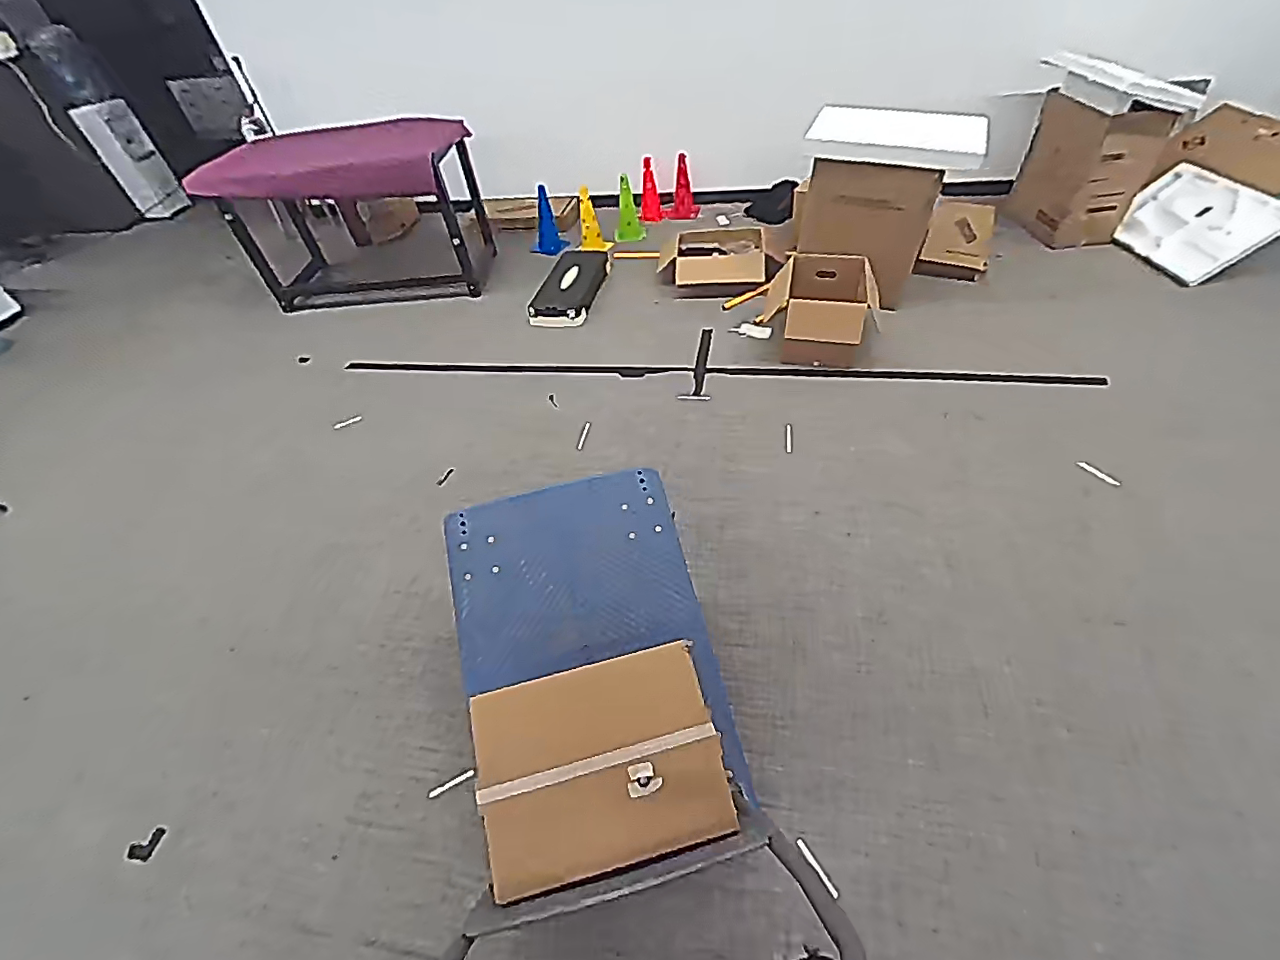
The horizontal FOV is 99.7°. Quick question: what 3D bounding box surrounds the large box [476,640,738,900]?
[{"bbox_3d":[-0.069,0.544,1.072,0.408,0.320,0.320,-14,68,-8],"label":"large box"}]
